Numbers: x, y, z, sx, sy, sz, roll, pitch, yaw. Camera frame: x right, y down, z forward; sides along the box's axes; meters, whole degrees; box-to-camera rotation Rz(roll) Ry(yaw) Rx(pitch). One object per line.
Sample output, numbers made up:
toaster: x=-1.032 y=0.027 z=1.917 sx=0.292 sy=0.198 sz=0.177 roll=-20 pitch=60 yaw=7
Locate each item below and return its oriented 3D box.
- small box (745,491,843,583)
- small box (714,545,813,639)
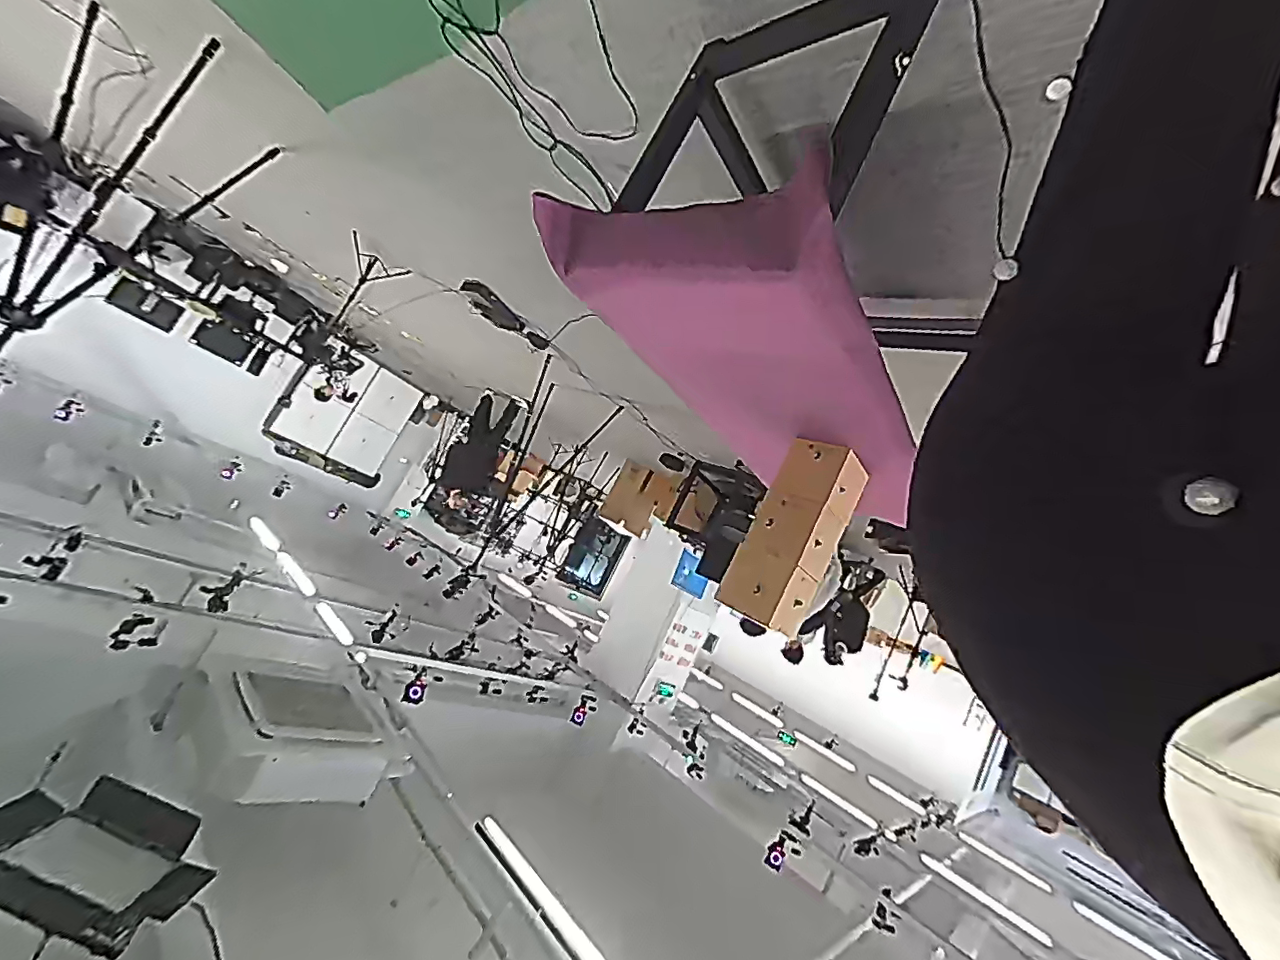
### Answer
small box: x=0.412 y=0.147 z=1.437 sx=0.168 sy=0.176 sz=0.179 roll=20 pitch=168 yaw=43
small box: x=0.332 y=0.288 z=1.416 sx=0.179 sy=0.176 sz=0.168 roll=19 pitch=167 yaw=44
